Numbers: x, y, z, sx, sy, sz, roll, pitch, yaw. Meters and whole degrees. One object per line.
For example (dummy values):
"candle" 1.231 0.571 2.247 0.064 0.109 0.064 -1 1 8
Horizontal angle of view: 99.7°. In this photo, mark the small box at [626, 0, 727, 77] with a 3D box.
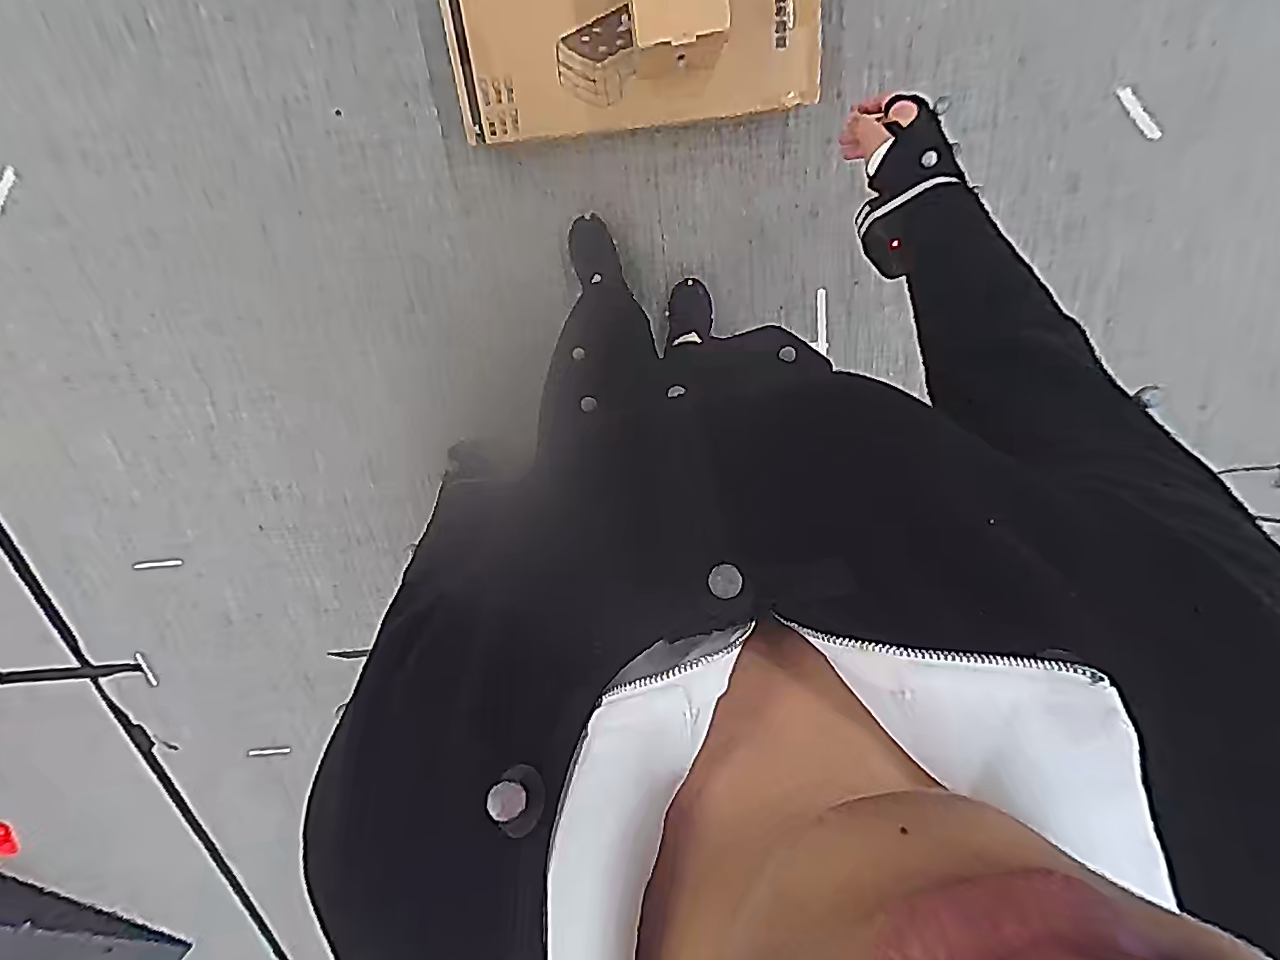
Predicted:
"small box" 0.061 -0.865 0.987 0.168 0.176 0.179 -8 113 3
